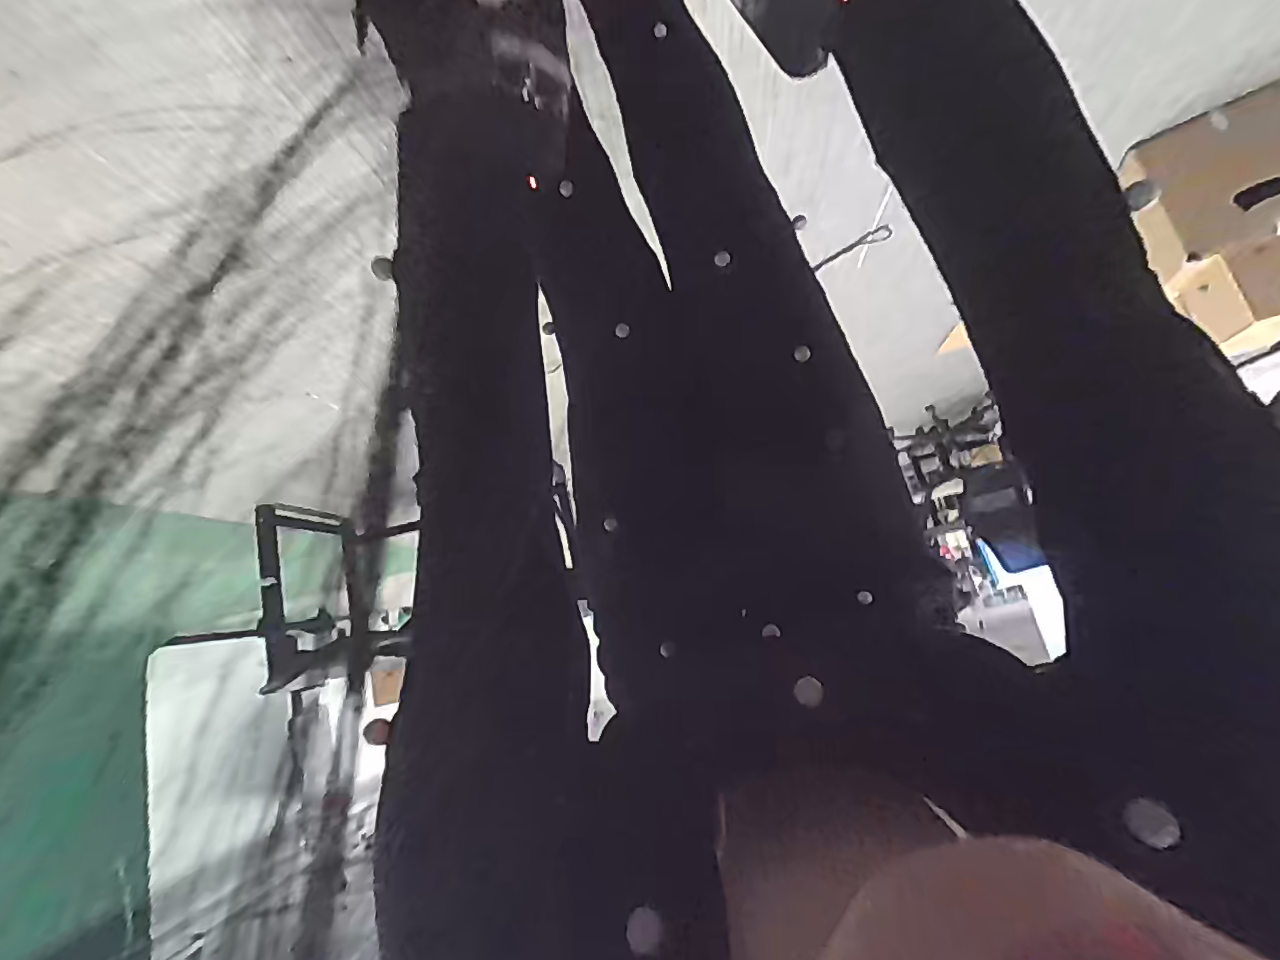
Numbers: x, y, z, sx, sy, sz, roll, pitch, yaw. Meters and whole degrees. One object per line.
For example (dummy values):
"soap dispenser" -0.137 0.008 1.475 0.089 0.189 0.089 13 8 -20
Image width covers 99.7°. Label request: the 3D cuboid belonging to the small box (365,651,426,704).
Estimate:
"small box" -1.022 0.820 2.264 0.168 0.176 0.179 -14 167 0
